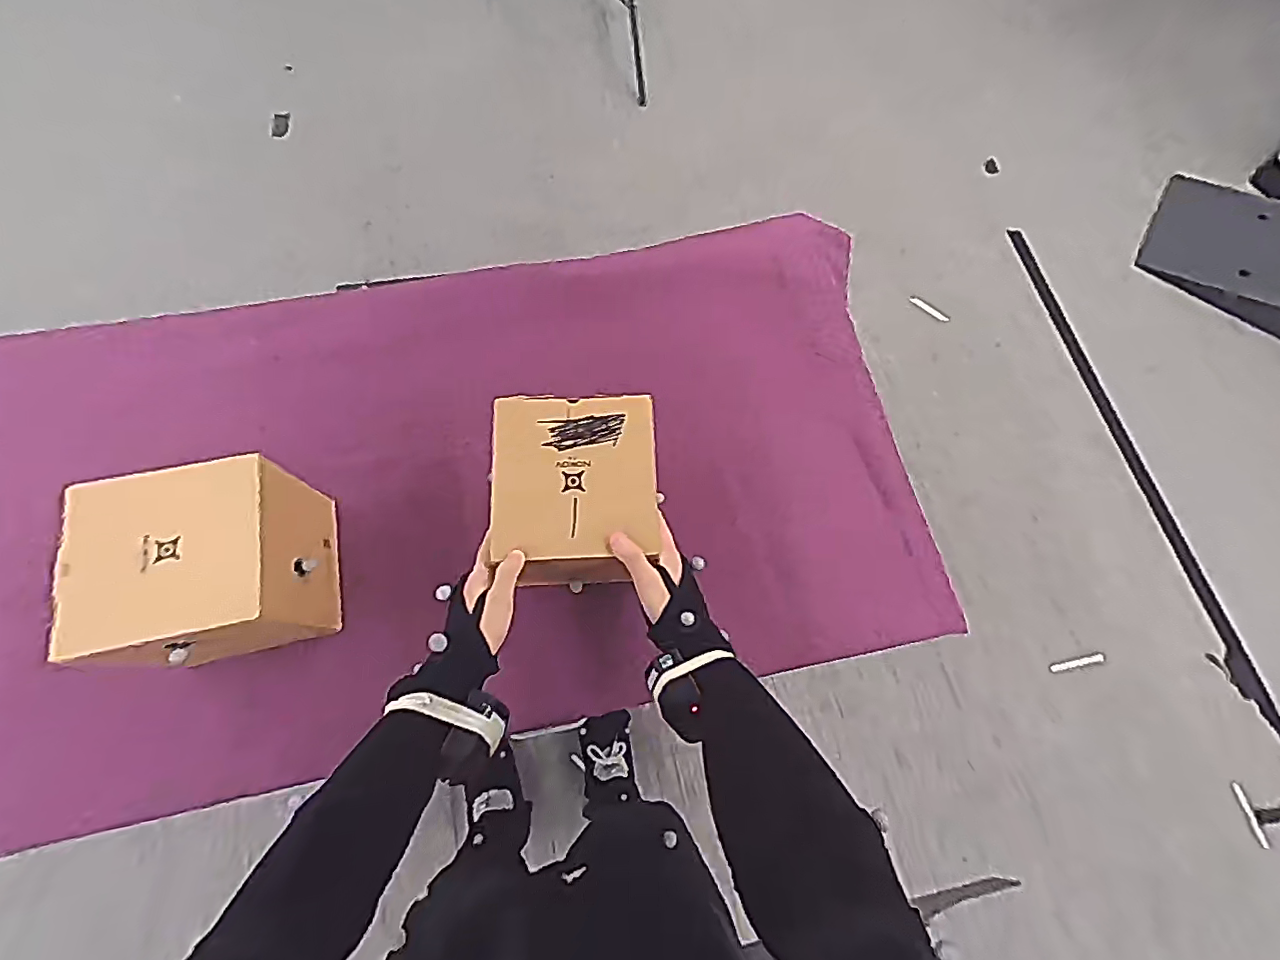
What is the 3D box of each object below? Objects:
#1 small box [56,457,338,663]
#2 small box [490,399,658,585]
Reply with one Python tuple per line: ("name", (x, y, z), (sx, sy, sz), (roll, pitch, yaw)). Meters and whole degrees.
("small box", (-0.446, 0.092, 0.580), (0.179, 0.176, 0.168), (-12, 72, -7))
("small box", (-0.071, 0.021, 0.625), (0.168, 0.176, 0.179), (-1, 72, -4))
